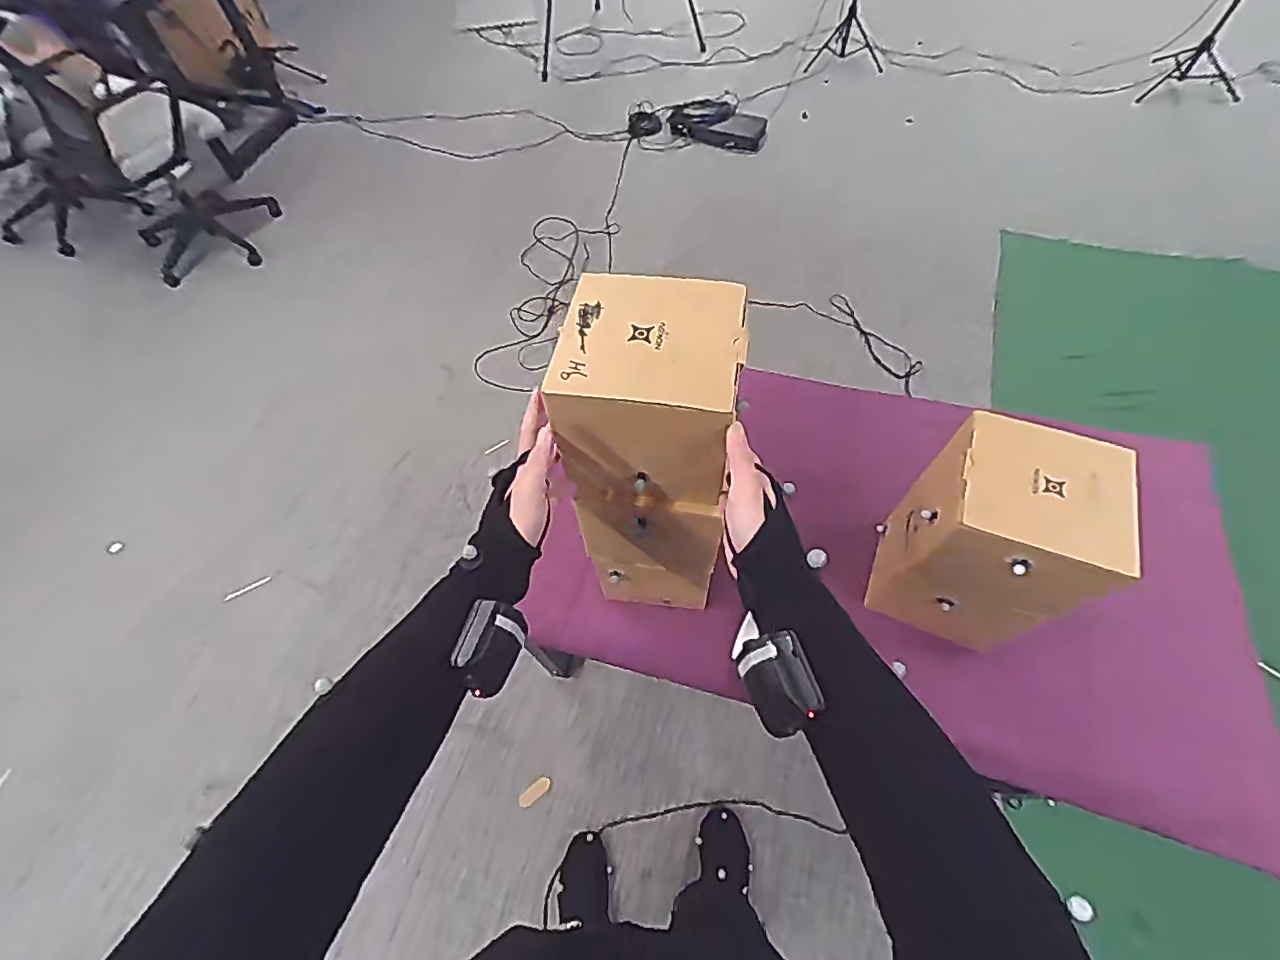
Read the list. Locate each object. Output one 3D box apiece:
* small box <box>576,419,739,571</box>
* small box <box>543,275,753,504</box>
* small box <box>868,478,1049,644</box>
[{"bbox_3d":[0.028,0.009,0.713,0.179,0.176,0.168,7,60,7],"label":"small box"},{"bbox_3d":[0.015,-0.090,0.580,0.179,0.176,0.168,8,59,7],"label":"small box"},{"bbox_3d":[0.467,0.128,0.812,0.179,0.176,0.168,20,63,12],"label":"small box"}]
